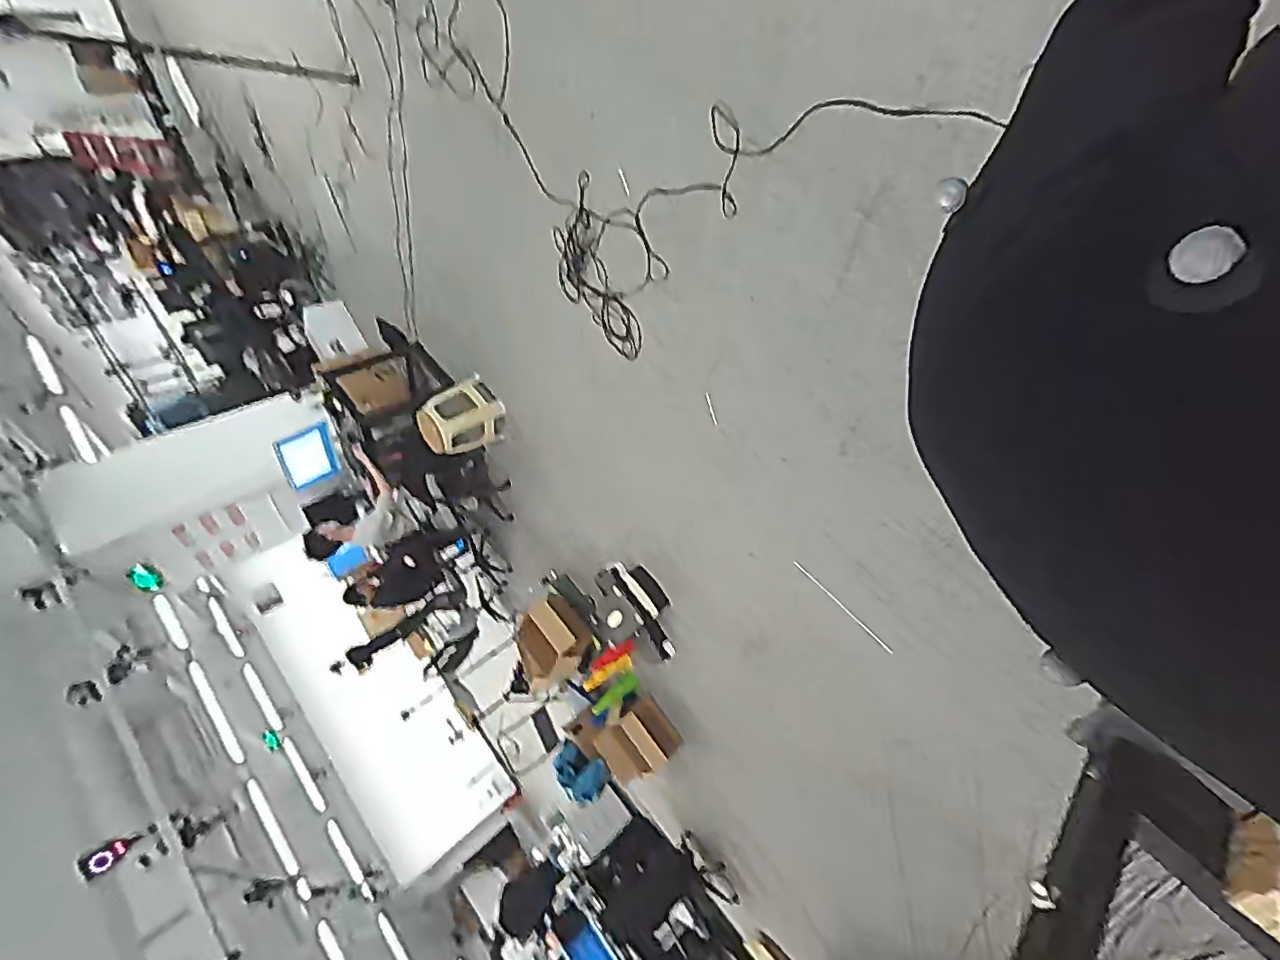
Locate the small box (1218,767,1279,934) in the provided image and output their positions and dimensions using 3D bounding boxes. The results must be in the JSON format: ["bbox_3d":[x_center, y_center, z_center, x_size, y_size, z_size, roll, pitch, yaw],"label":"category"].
[{"bbox_3d":[0.781,0.415,0.564,0.179,0.176,0.168,41,143,24],"label":"small box"}]
